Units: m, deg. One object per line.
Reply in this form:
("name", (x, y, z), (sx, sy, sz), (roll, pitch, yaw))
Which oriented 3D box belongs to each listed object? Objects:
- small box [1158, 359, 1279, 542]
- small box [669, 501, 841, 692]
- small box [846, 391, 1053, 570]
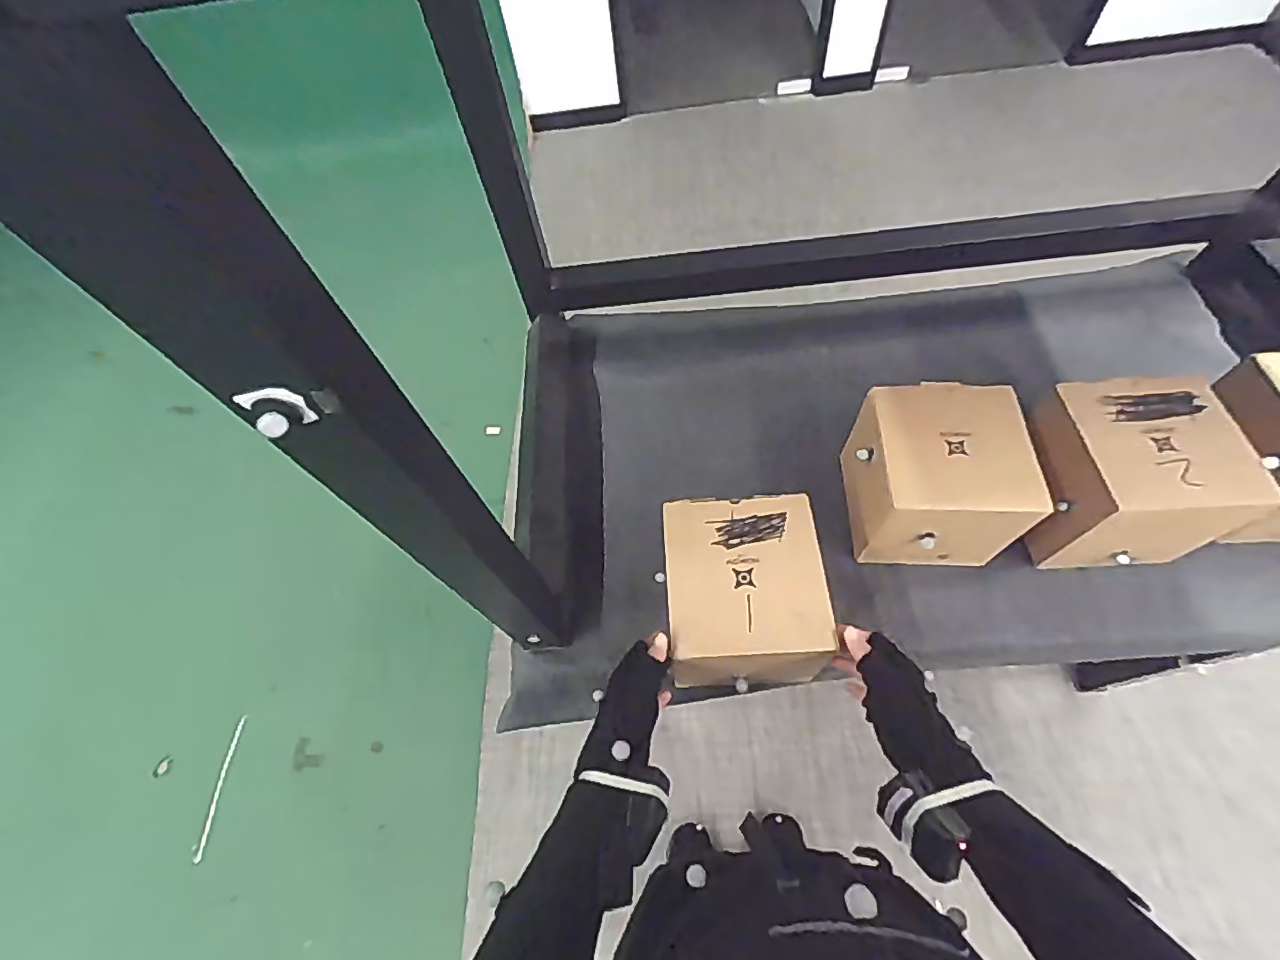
("small box", (0.813, -0.030, 0.662), (0.168, 0.176, 0.179), (-2, 59, 5))
("small box", (0.120, 0.142, 0.638), (0.168, 0.176, 0.179), (-4, 59, 4))
("small box", (0.374, 0.007, 0.694), (0.168, 0.176, 0.179), (0, 59, 7))
